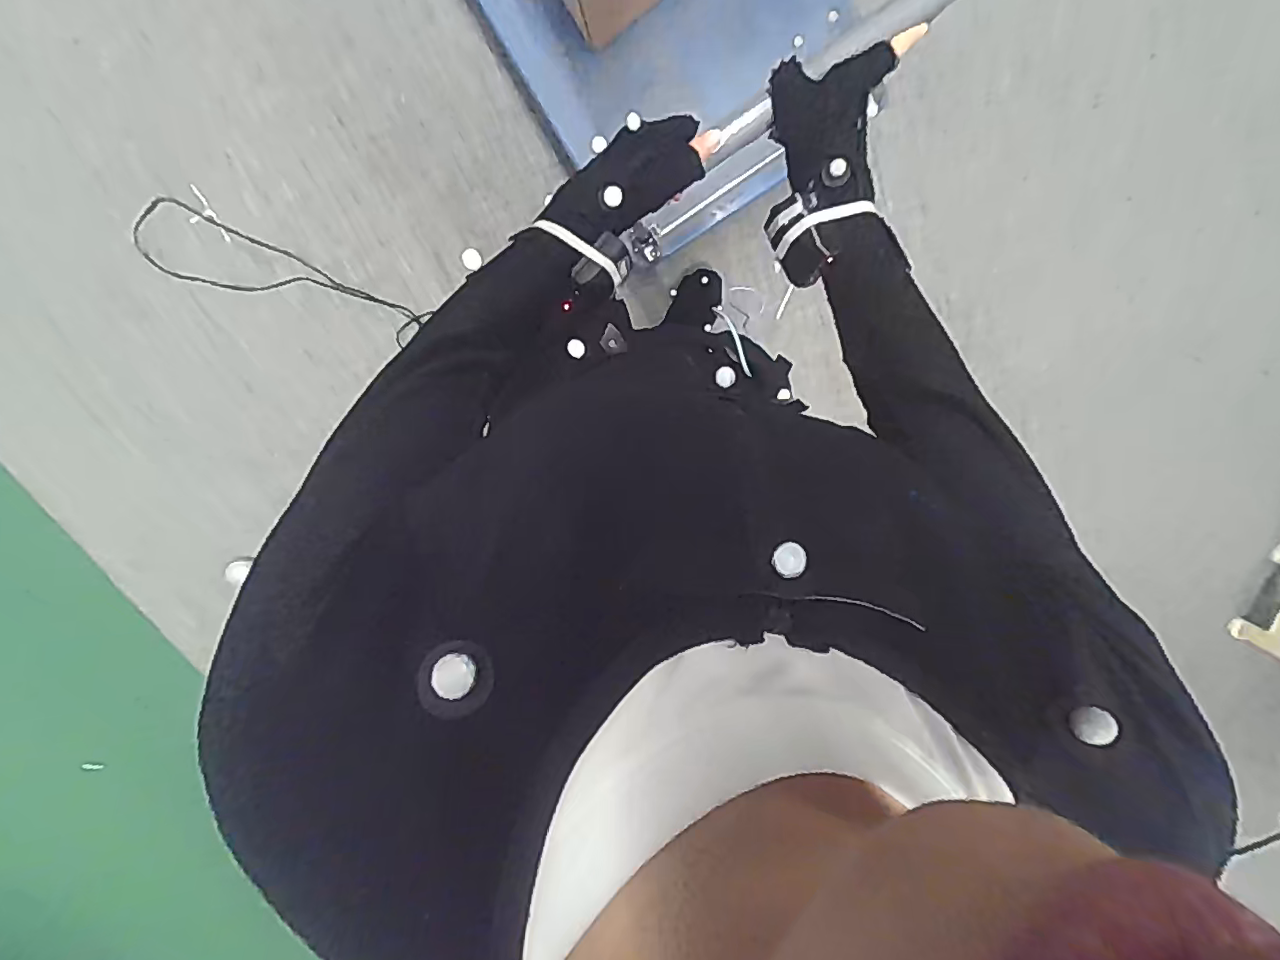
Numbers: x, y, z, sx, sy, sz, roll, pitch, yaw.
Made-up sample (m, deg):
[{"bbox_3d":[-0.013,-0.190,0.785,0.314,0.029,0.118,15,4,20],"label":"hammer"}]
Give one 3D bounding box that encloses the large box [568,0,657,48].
[{"bbox_3d":[-0.004,-0.961,0.783,0.408,0.320,0.320,-32,108,15],"label":"large box"}]
